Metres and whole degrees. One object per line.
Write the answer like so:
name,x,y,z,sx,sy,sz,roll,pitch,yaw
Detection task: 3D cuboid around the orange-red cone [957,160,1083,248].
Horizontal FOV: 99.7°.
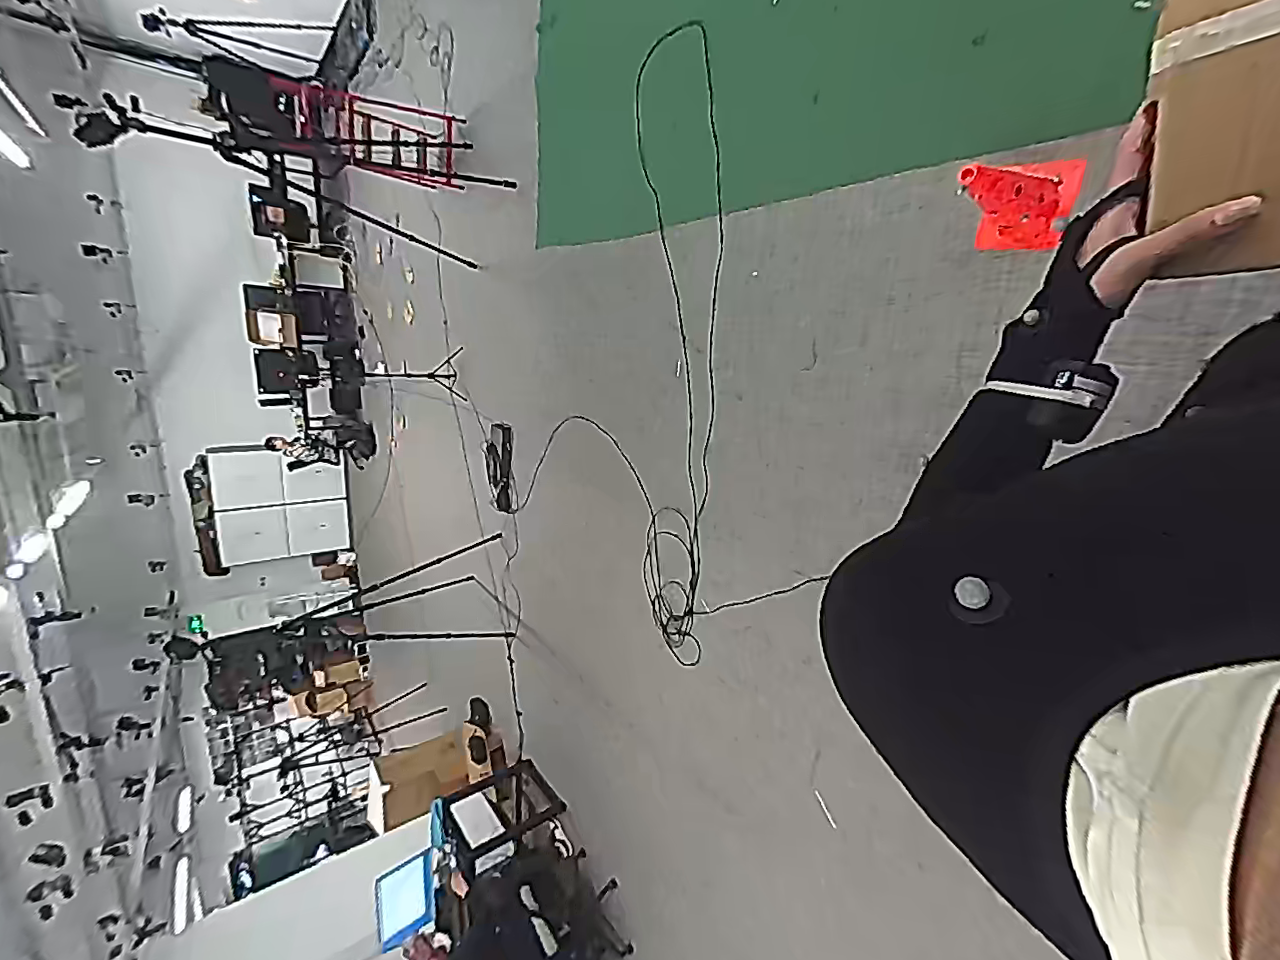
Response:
orange-red cone,0.836,-0.677,1.262,0.199,0.360,0.198,30,118,48
